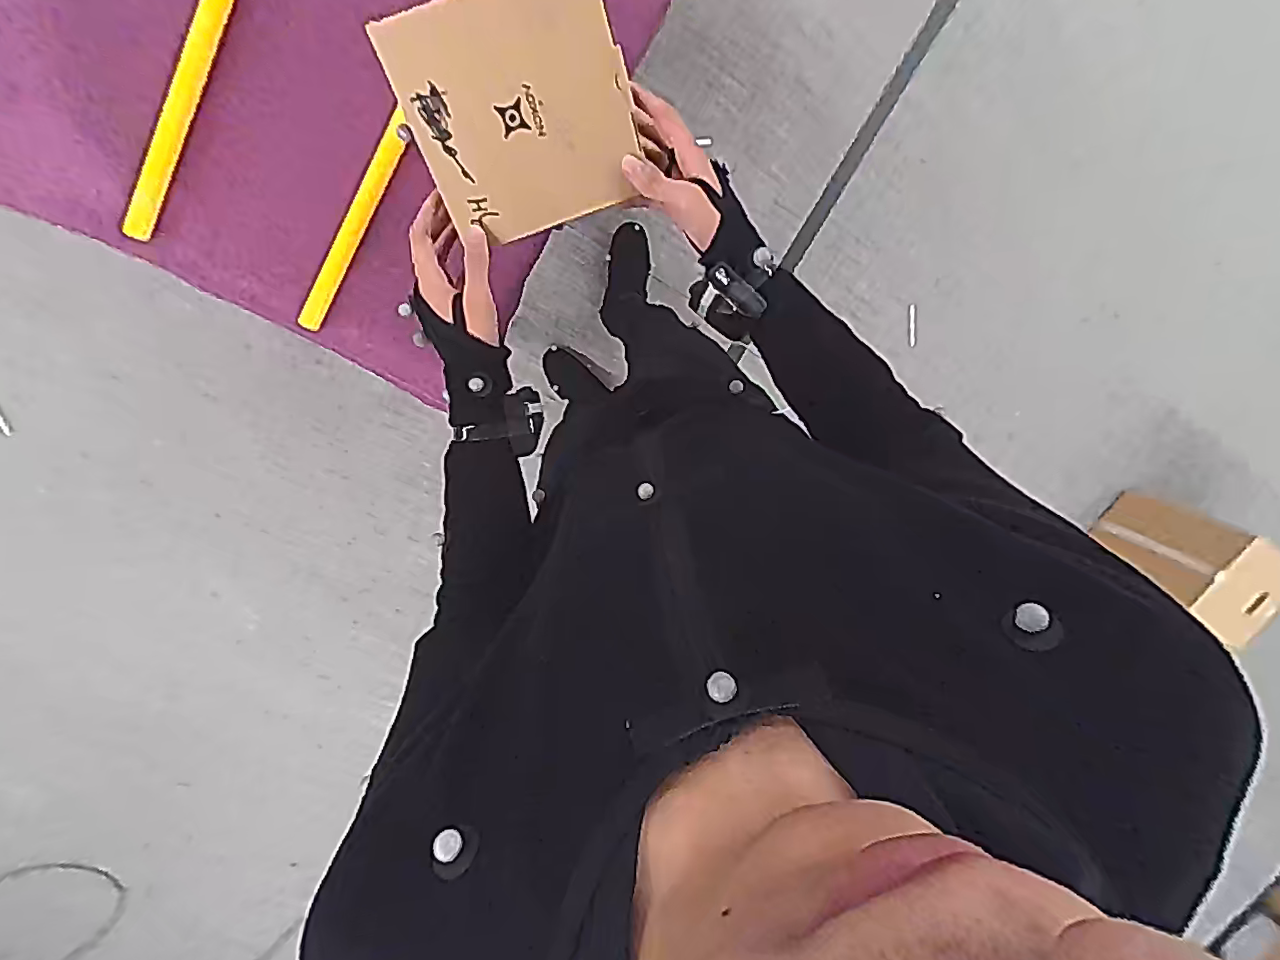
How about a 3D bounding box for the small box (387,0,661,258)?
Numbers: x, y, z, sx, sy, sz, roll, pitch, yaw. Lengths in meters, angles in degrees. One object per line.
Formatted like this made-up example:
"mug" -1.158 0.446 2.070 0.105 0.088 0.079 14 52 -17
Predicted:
"small box" -0.098 -0.326 0.500 0.179 0.176 0.168 -19 122 -1
